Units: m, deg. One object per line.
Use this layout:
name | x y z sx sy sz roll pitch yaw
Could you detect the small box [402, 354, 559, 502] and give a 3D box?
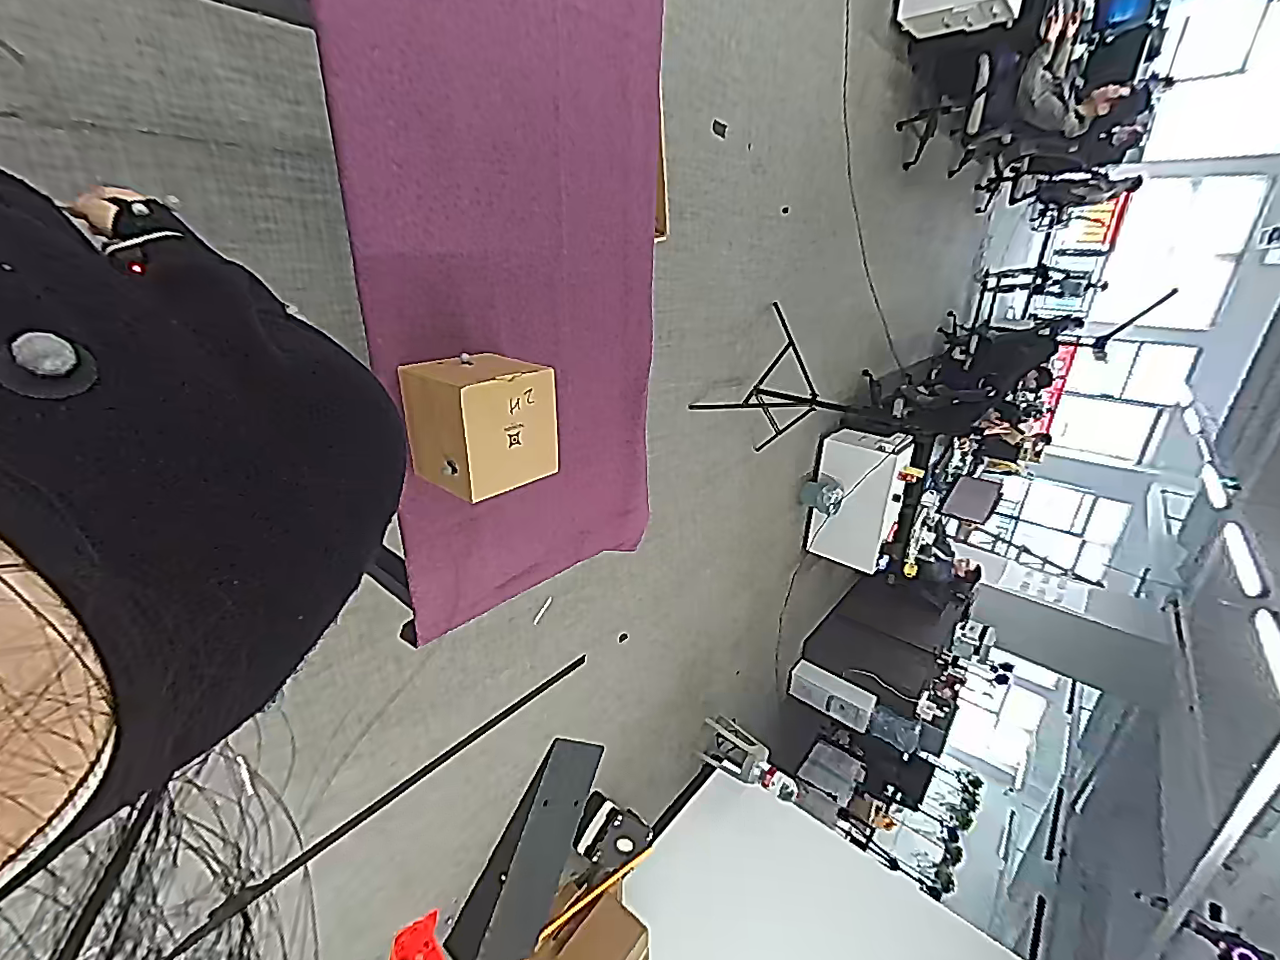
small box | -0.246 -0.091 0.846 0.168 0.176 0.179 -25 124 -45
